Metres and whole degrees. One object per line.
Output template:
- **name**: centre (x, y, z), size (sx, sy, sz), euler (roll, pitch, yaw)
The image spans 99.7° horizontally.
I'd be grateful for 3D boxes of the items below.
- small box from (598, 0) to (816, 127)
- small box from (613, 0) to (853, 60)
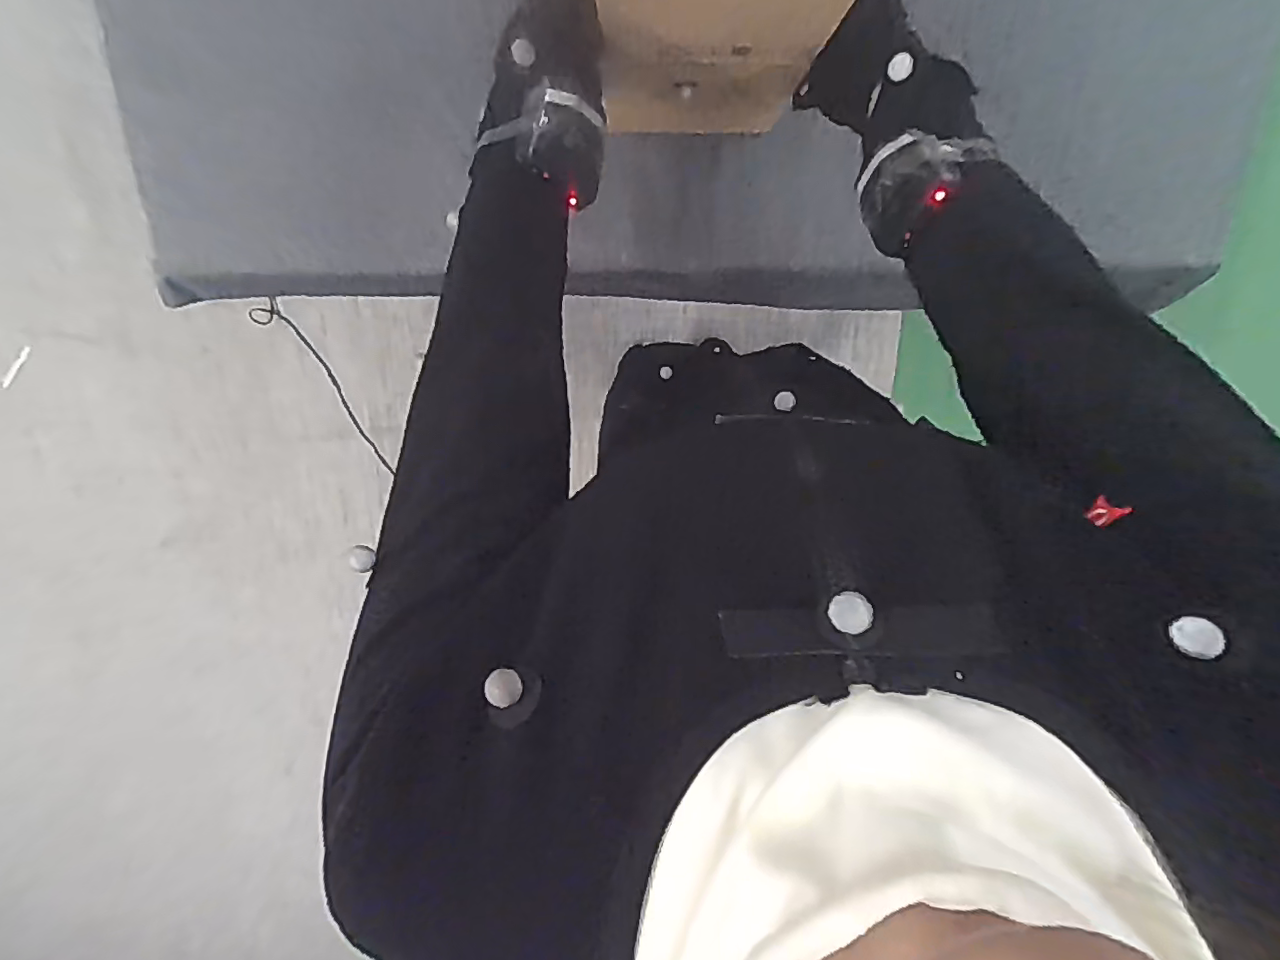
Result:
- **small box**: centre (0.056, -0.438, 0.485), size (0.179, 0.176, 0.168), euler (0, 106, 0)
- **small box**: centre (0.061, -0.397, 0.330), size (0.168, 0.176, 0.179), euler (-2, 107, 0)
